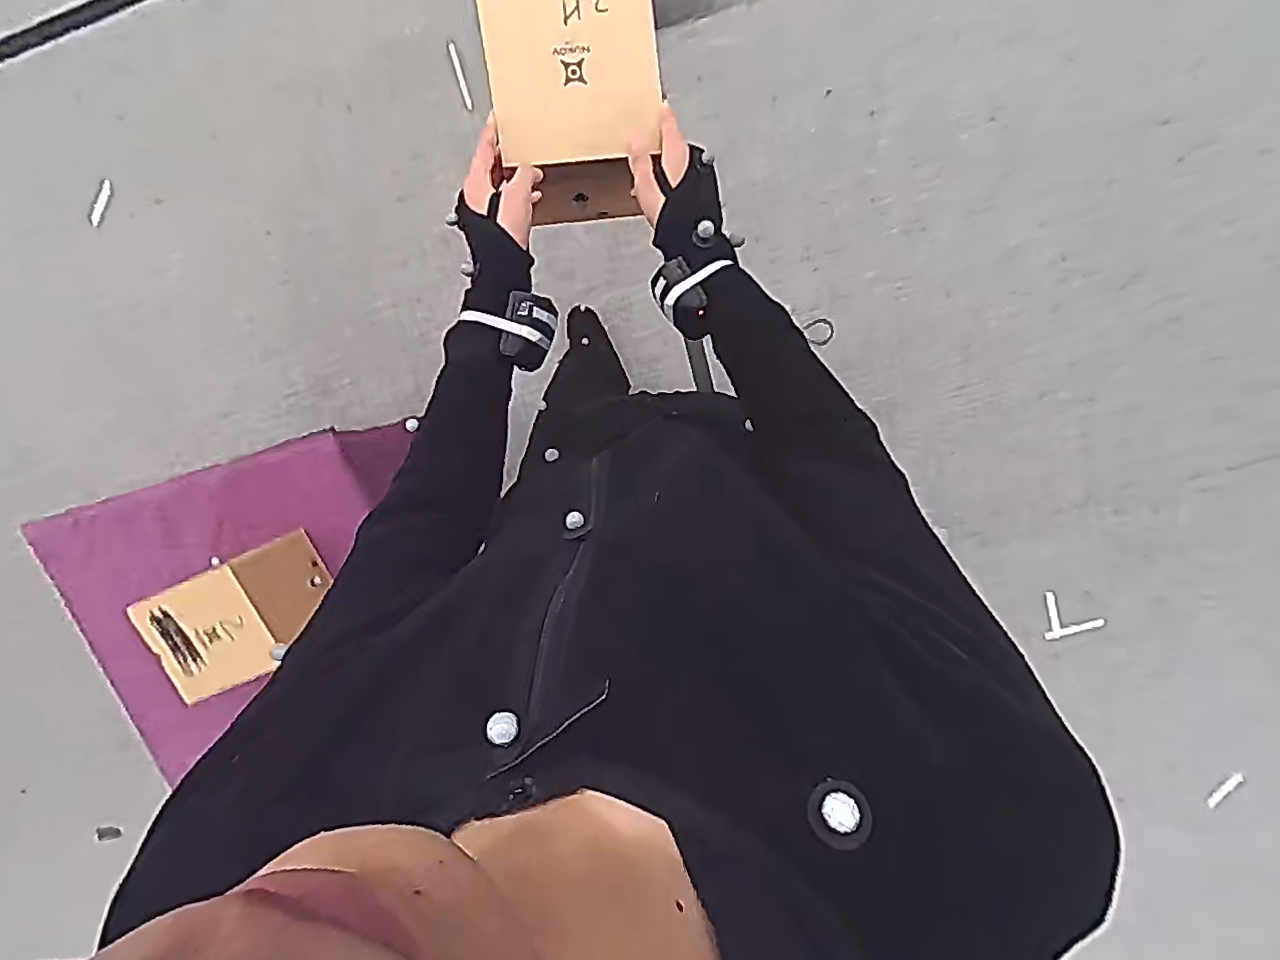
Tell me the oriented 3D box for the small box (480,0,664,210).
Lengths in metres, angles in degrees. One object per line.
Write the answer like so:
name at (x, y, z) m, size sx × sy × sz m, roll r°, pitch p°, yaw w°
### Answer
small box at (-0.072, -0.418, 0.601) m, size 0.168 × 0.176 × 0.179 m, roll -8°, pitch 97°, yaw -6°
